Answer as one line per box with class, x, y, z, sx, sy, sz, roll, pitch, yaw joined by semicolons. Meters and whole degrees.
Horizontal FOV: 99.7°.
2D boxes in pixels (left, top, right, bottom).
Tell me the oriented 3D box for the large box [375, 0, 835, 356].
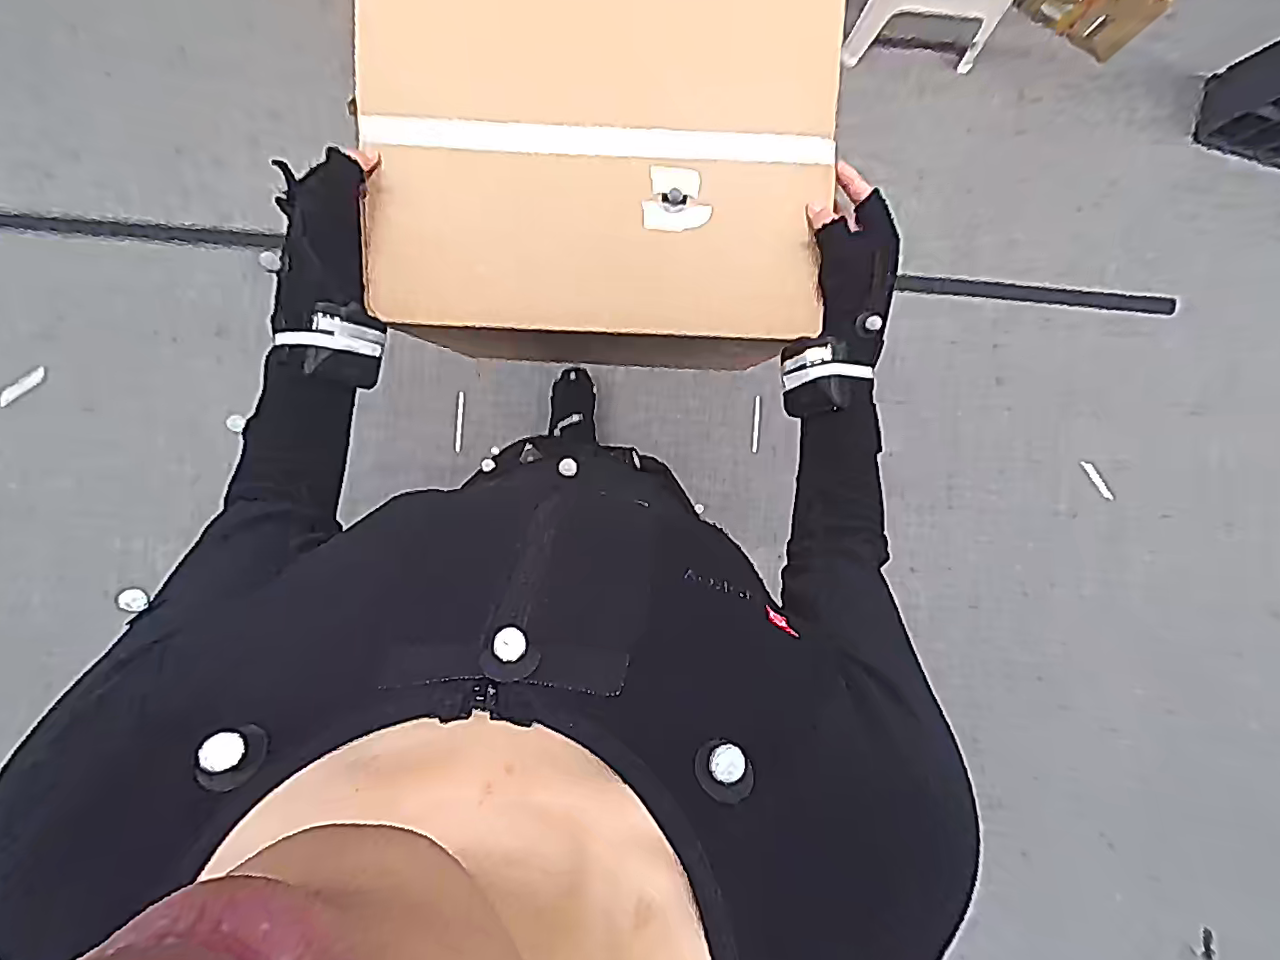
large box;-0.037;-0.320;0.626;0.408;0.320;0.320;2;97;-2
